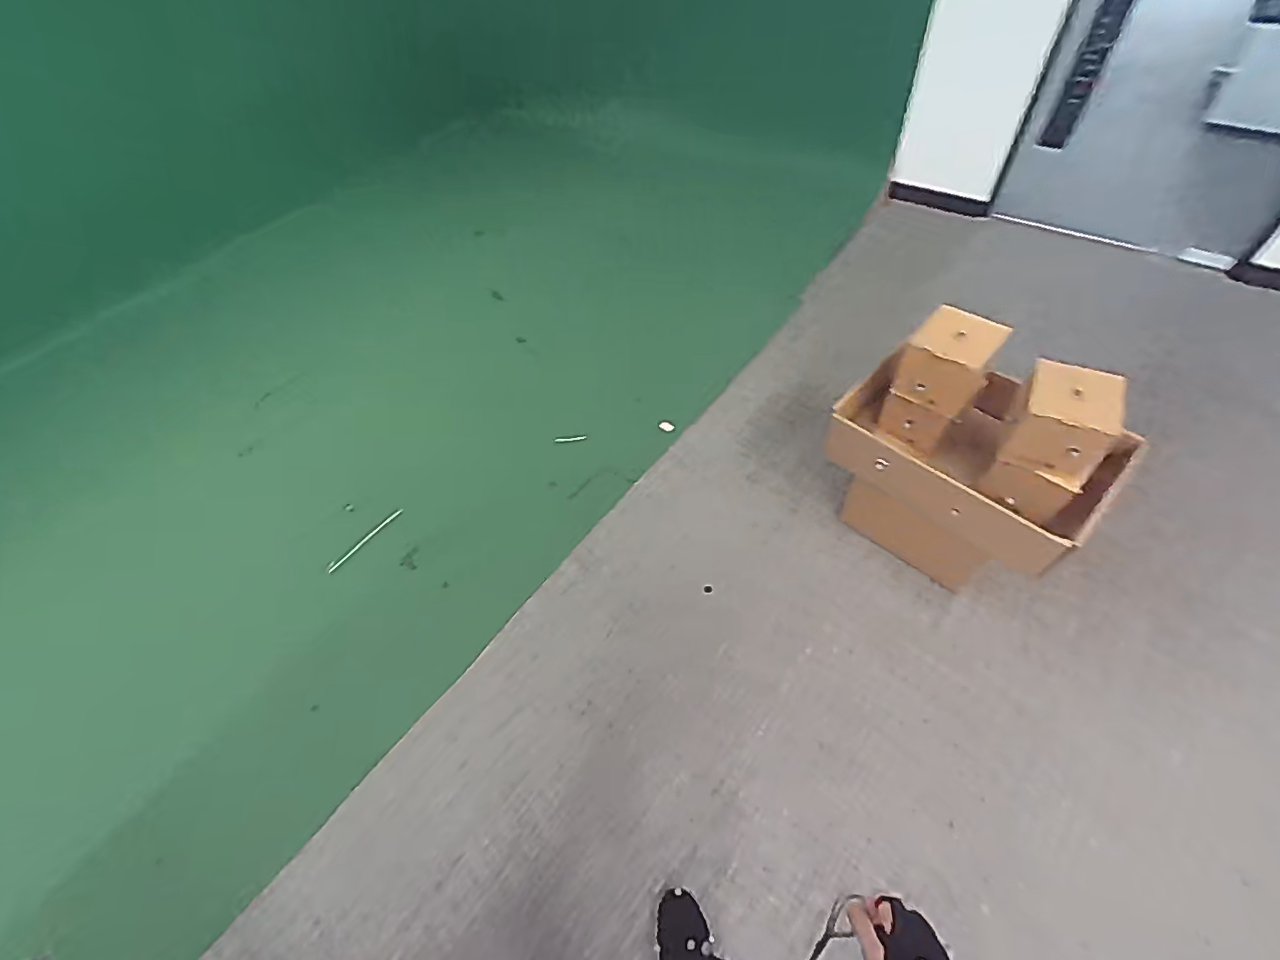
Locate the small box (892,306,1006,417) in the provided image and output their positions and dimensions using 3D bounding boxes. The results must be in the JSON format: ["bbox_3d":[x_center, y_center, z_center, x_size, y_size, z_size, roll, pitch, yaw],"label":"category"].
[{"bbox_3d":[0.756,-0.293,1.341,0.168,0.176,0.179,35,66,27],"label":"small box"}]

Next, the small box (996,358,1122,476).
[{"bbox_3d":[0.923,-0.136,1.203,0.168,0.176,0.179,21,59,21],"label":"small box"}]
